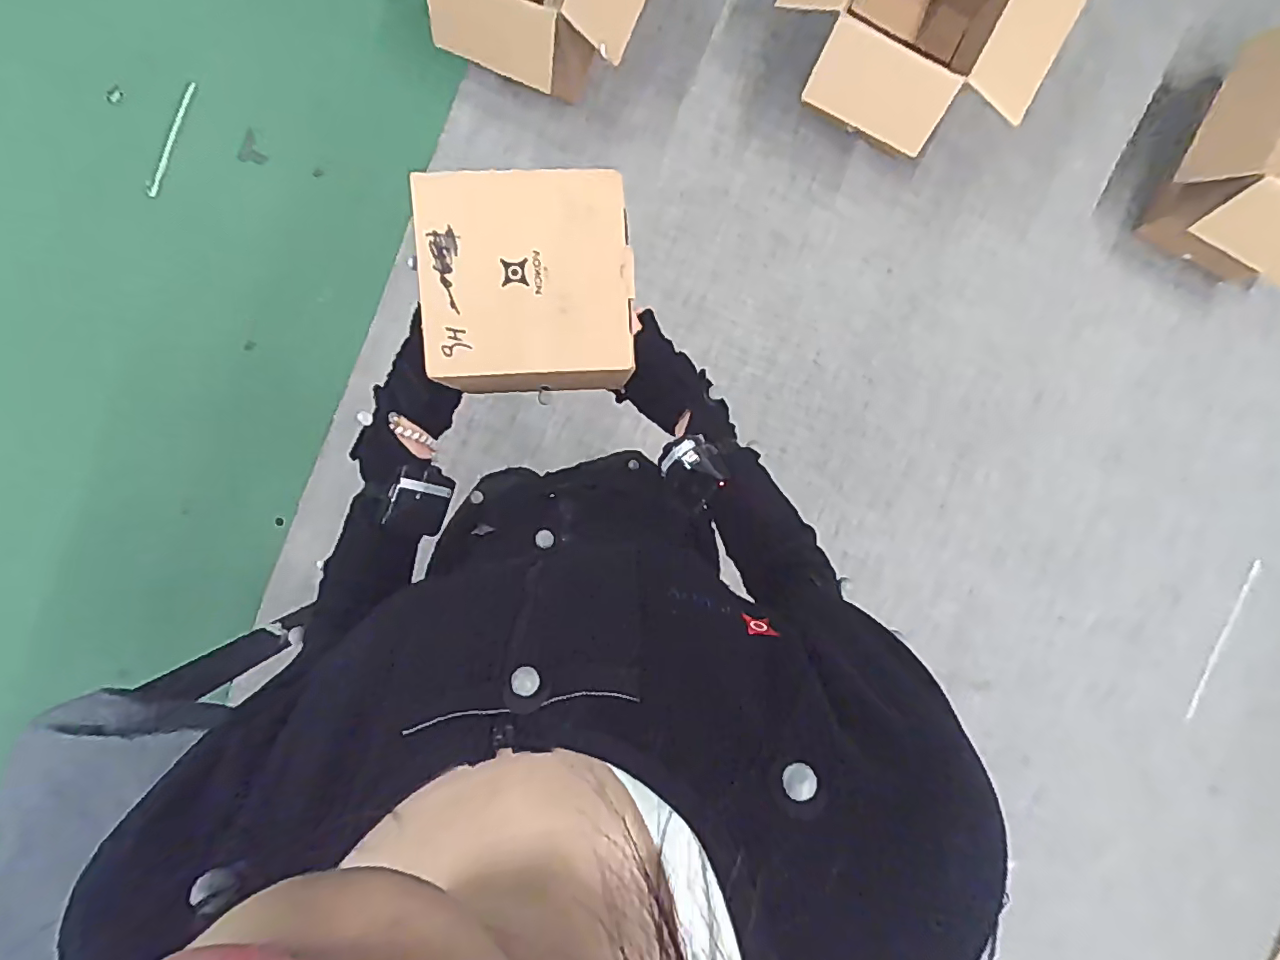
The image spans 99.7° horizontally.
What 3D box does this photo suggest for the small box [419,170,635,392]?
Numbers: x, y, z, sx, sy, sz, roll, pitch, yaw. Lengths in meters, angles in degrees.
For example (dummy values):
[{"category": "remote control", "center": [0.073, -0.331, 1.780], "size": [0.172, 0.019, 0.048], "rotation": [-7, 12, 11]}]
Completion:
[{"category": "small box", "center": [-0.103, -0.179, 0.535], "size": [0.179, 0.176, 0.168], "rotation": [-2, 94, -6]}]
